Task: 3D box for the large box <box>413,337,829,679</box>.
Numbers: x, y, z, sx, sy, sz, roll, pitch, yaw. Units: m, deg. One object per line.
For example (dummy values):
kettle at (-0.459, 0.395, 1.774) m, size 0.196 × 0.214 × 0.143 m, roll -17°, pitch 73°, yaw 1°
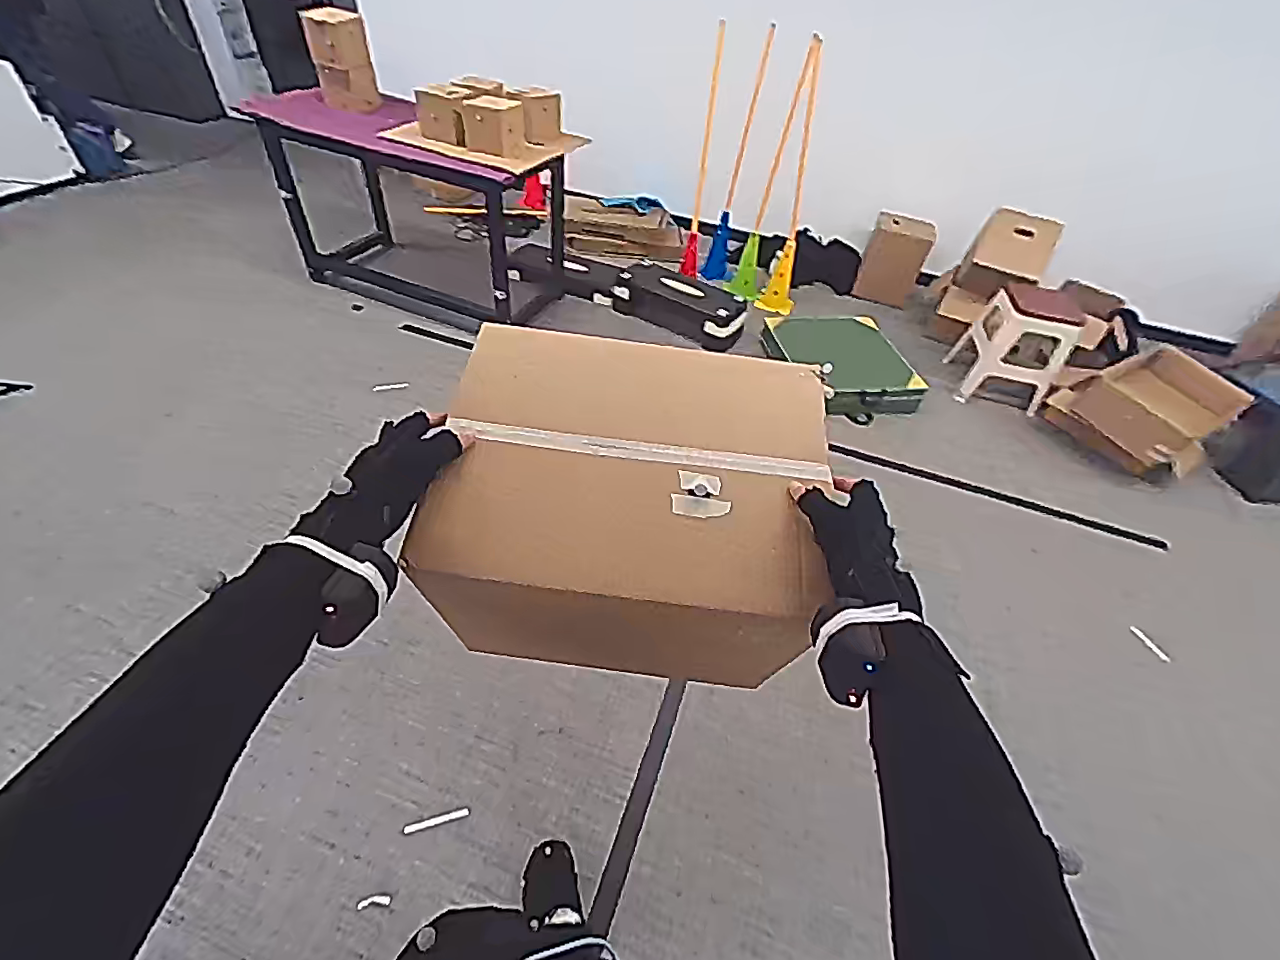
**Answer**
large box at (-0.017, 0.053, 0.710) m, size 0.408 × 0.320 × 0.320 m, roll 8°, pitch 59°, yaw -1°
